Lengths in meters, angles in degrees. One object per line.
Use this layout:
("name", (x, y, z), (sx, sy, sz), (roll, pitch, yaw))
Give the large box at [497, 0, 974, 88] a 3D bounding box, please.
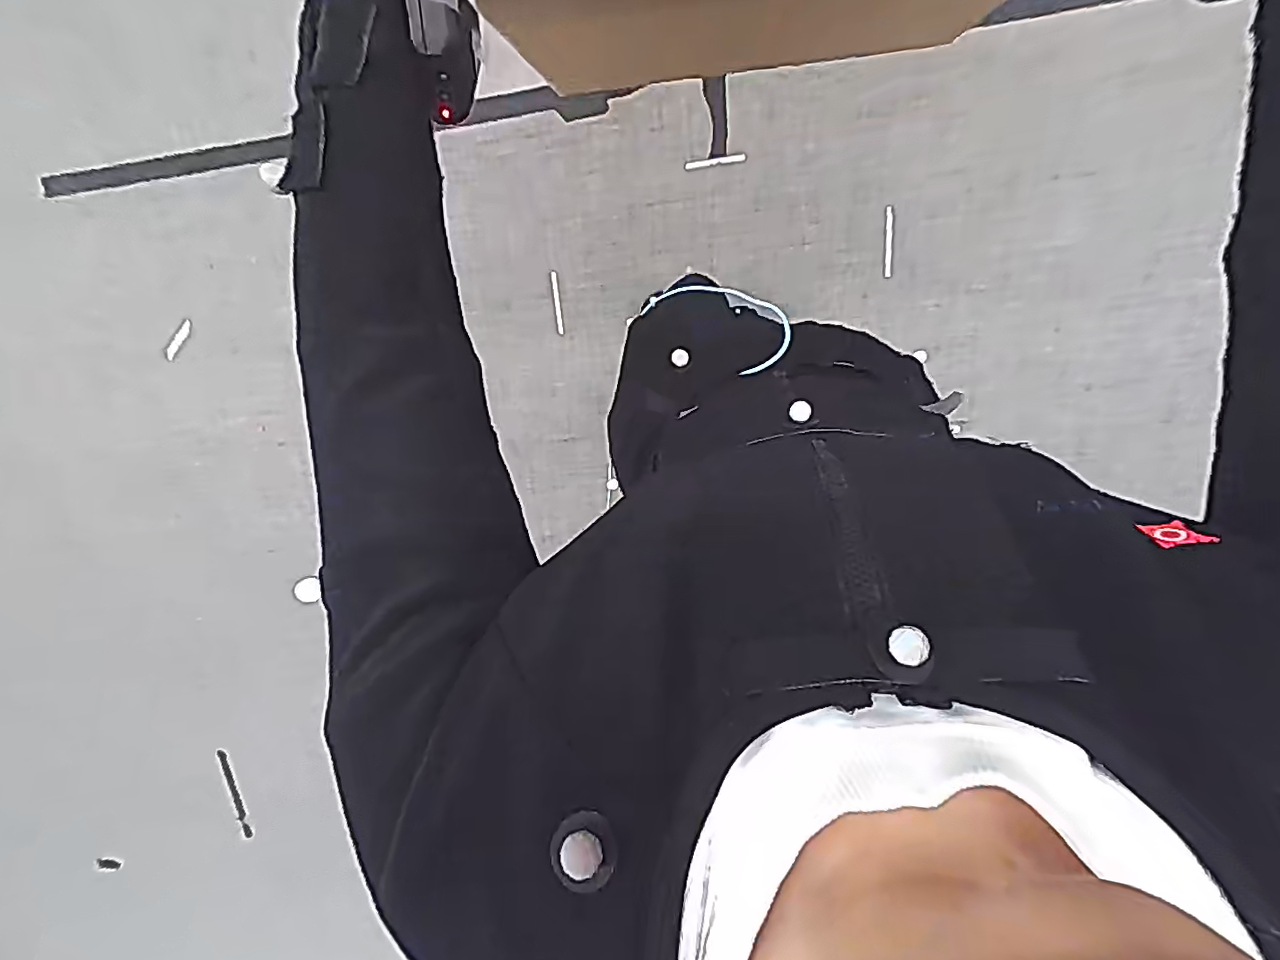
("large box", (0.081, -0.517, 0.370), (0.408, 0.320, 0.320), (-3, 114, 7))
